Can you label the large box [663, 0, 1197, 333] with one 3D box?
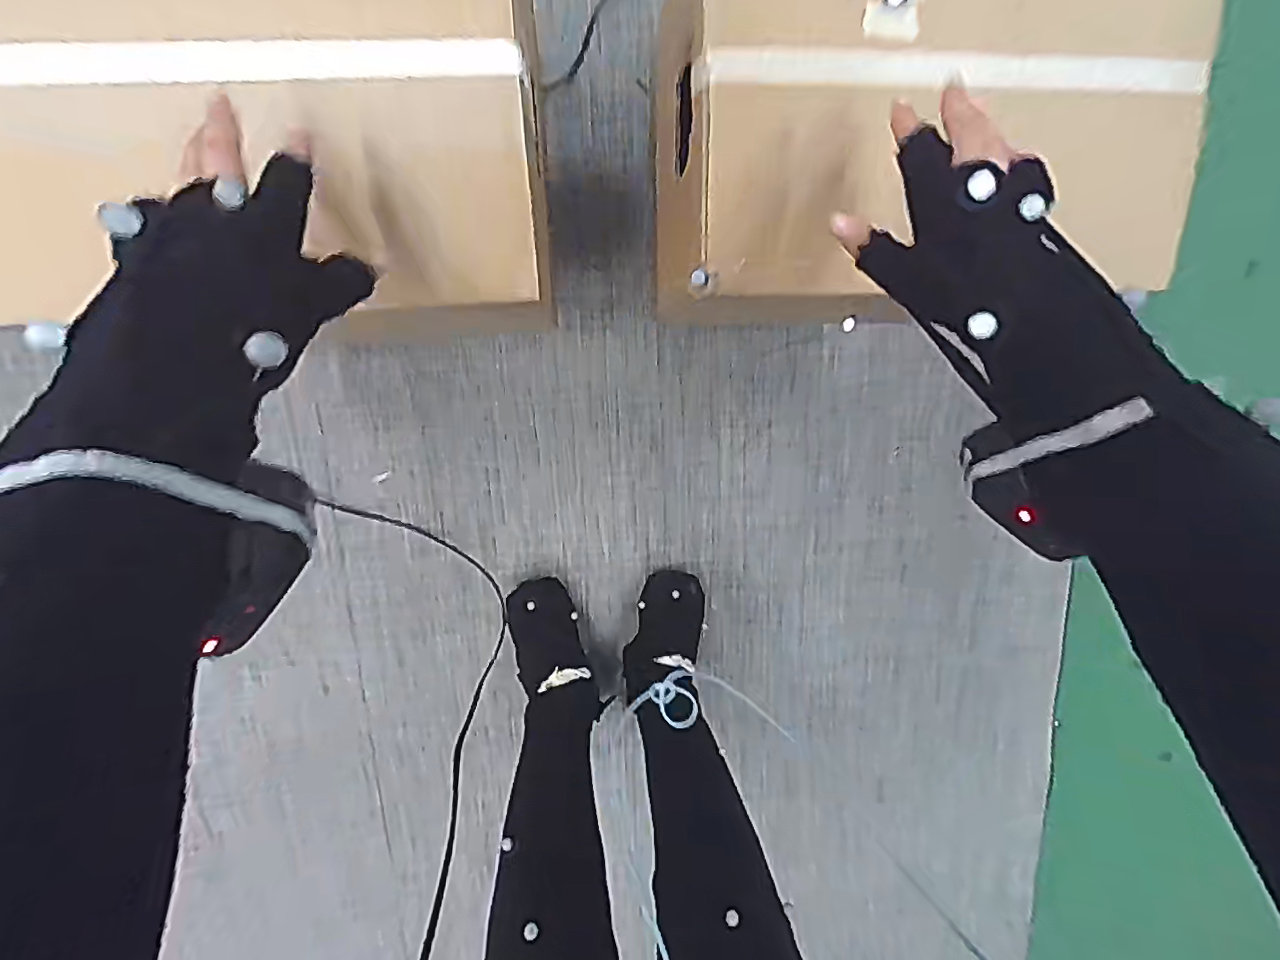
[{"bbox_3d":[0.242,-0.328,0.587,0.408,0.320,0.320,-2,101,-5],"label":"large box"}]
